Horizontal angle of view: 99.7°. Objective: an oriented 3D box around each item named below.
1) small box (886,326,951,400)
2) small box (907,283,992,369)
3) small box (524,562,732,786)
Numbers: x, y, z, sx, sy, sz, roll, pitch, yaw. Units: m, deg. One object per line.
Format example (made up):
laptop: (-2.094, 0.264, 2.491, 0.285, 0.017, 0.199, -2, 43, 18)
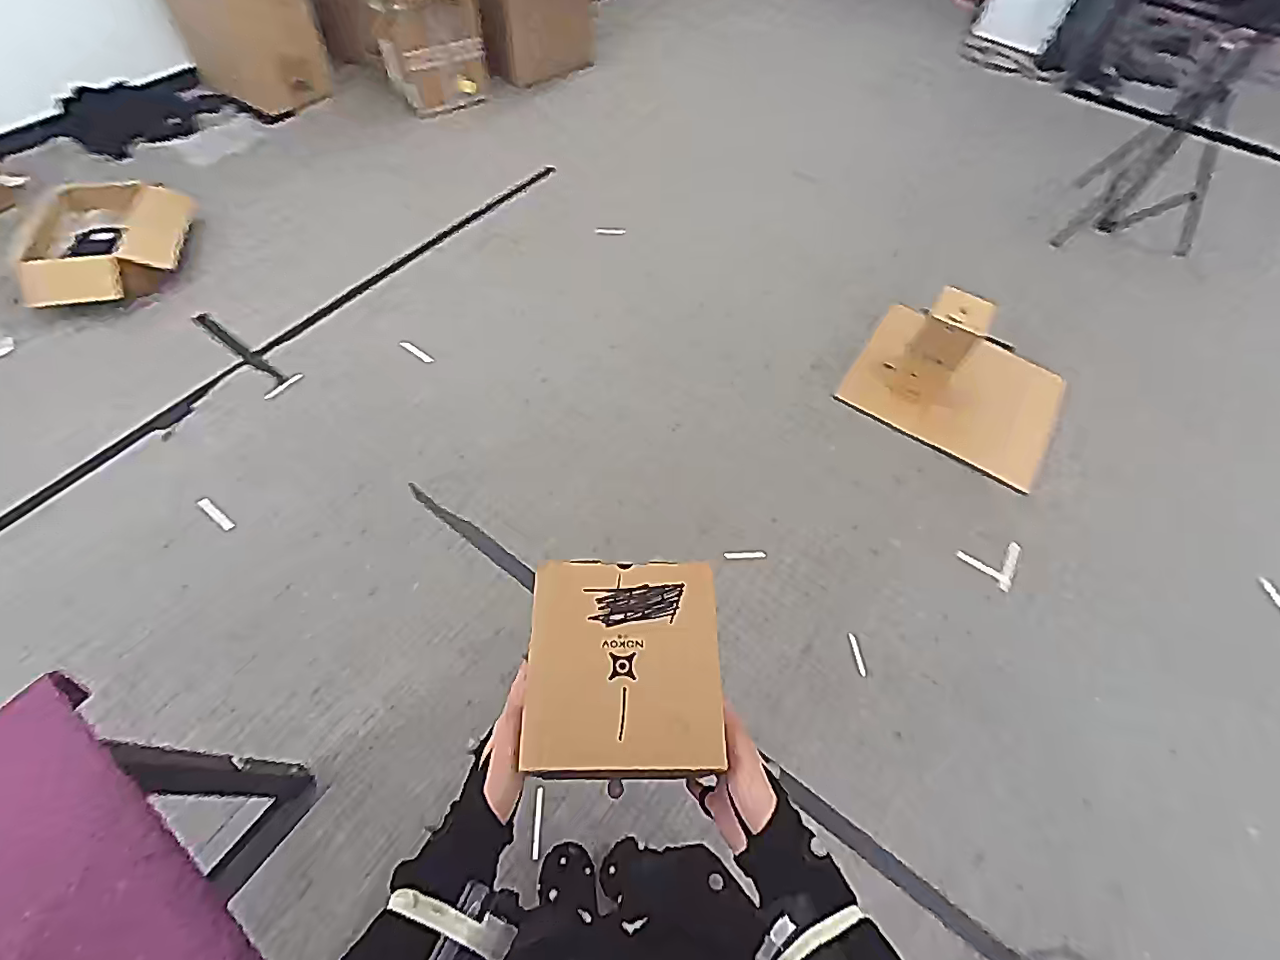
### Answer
small box: (0.995, -0.413, 1.903, 0.168, 0.176, 0.179, 29, 62, 14)
small box: (1.004, -0.499, 1.764, 0.168, 0.176, 0.179, 28, 61, 14)
small box: (-0.010, 0.194, 0.529, 0.168, 0.176, 0.179, 1, 60, -1)
